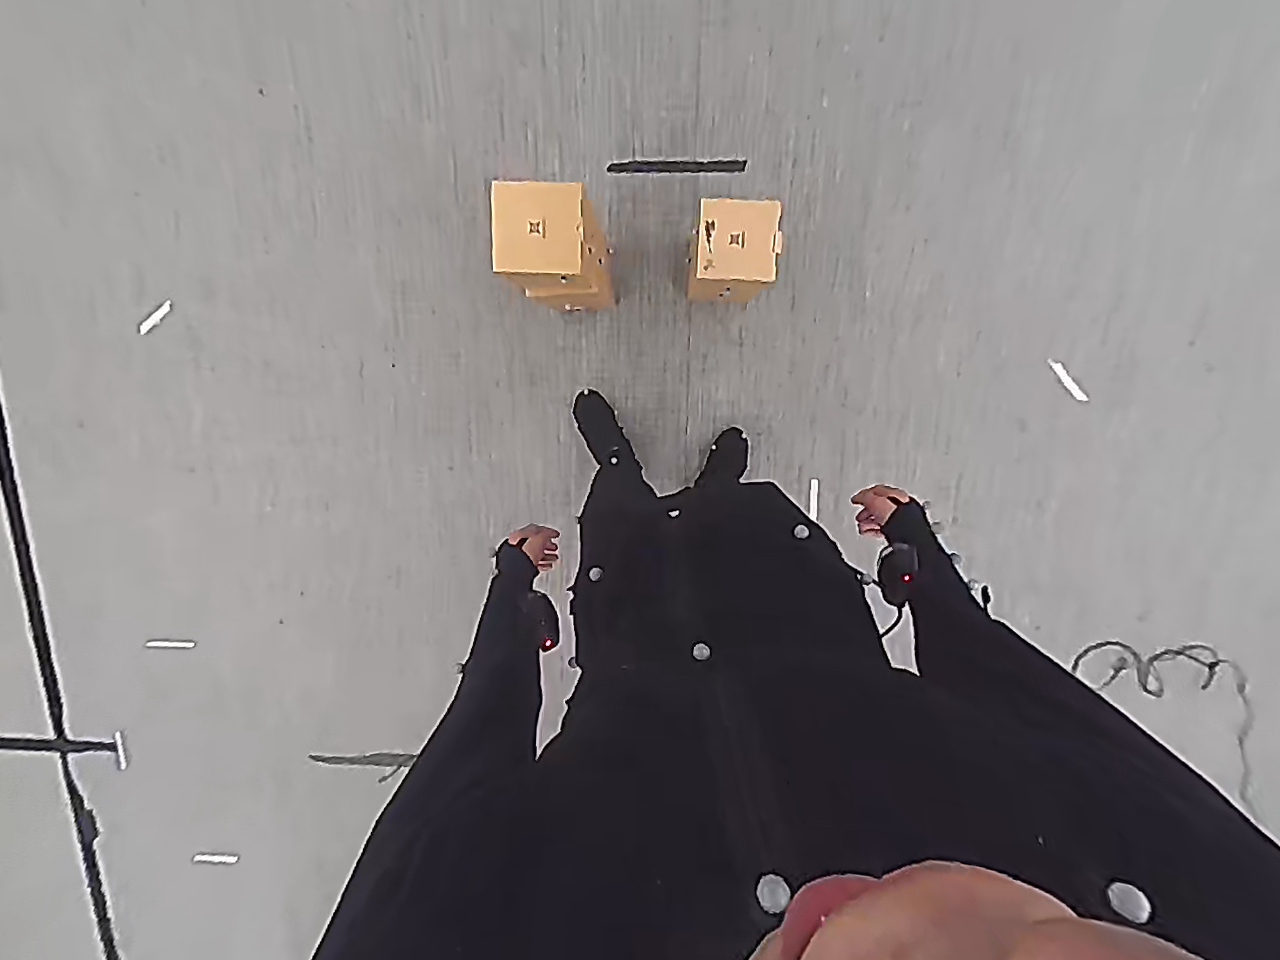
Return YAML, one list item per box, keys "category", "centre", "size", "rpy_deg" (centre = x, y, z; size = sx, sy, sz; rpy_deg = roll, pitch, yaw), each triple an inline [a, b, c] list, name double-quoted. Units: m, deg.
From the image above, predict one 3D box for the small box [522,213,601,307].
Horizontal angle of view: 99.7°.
- category: "small box"
  centre: [-0.183, -0.510, 1.269]
  size: [0.168, 0.176, 0.179]
  rpy_deg: [-3, 101, 2]

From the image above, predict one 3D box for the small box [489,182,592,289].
- category: "small box"
  centre: [-0.197, -0.491, 1.107]
  size: [0.179, 0.176, 0.168]
  rpy_deg: [2, 101, 1]

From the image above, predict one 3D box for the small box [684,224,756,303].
- category: "small box"
  centre: [0.209, -0.562, 1.419]
  size: [0.179, 0.176, 0.168]
  rpy_deg: [2, 101, 0]

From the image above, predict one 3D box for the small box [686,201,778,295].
- category: "small box"
  centre: [0.207, -0.532, 1.258]
  size: [0.179, 0.176, 0.168]
  rpy_deg: [3, 100, -1]

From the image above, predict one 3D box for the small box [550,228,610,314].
- category: "small box"
  centre: [-0.172, -0.546, 1.428]
  size: [0.168, 0.176, 0.179]
  rpy_deg: [-5, 101, 2]
